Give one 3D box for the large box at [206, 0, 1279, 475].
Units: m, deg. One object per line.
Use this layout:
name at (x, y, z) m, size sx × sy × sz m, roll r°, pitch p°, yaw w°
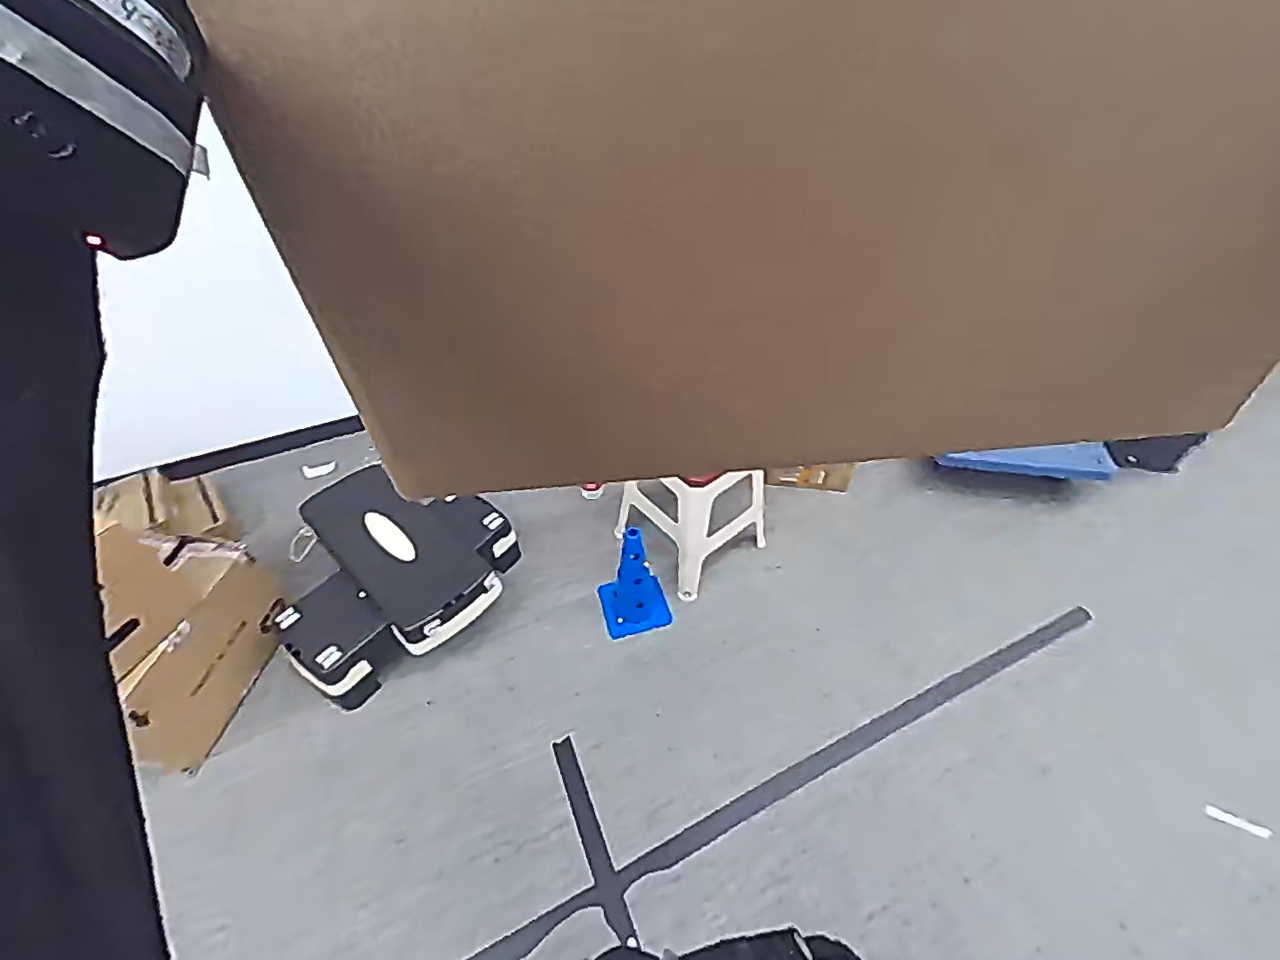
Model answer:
large box at (0.065, -0.225, 0.281) m, size 0.408 × 0.320 × 0.320 m, roll -4°, pitch 42°, yaw -1°
